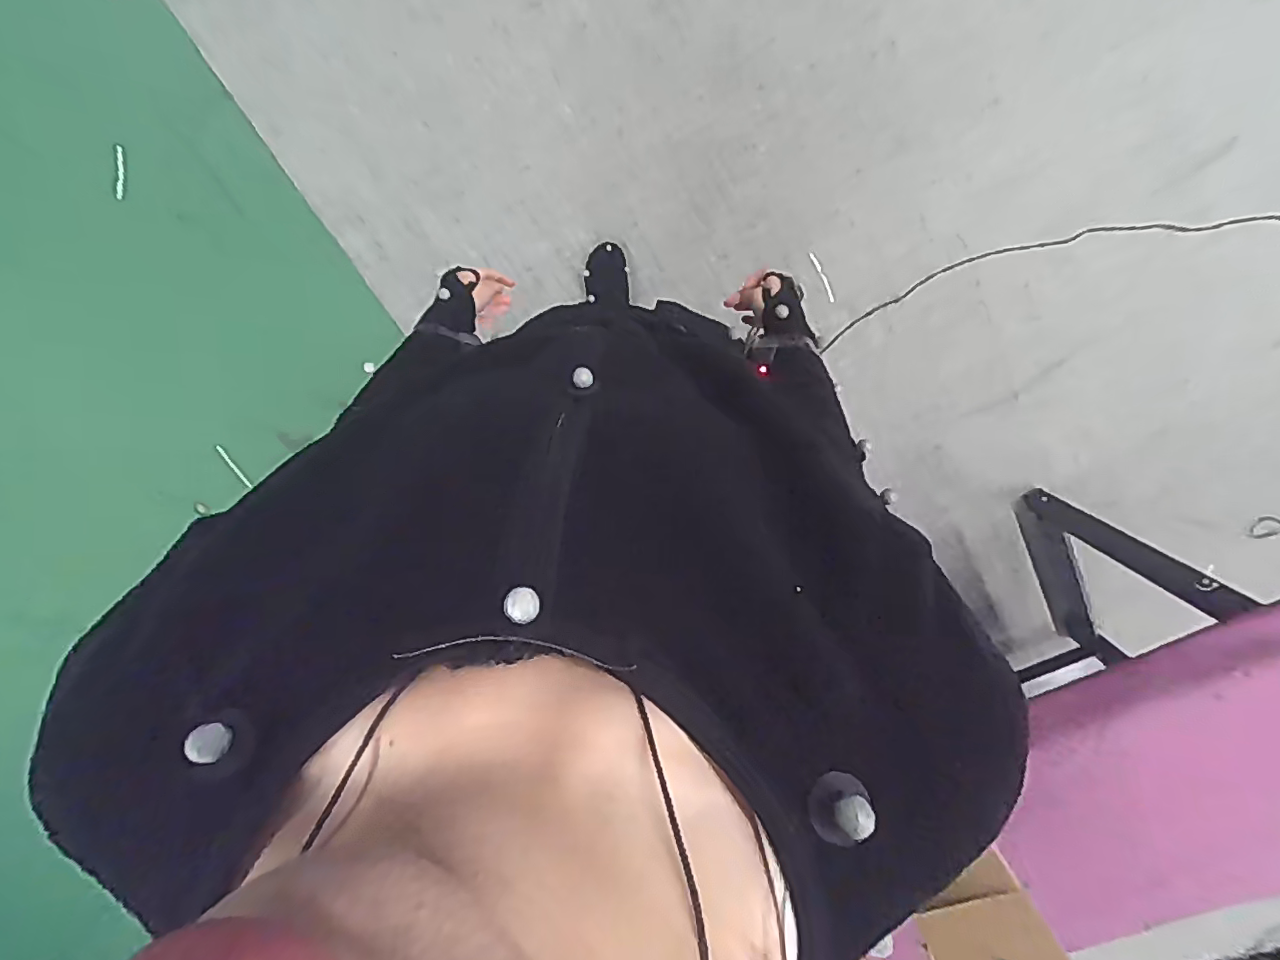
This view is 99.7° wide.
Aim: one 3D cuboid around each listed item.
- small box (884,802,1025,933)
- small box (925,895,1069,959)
[{"bbox_3d":[0.570,0.718,0.954,0.168,0.176,0.179,-34,107,11],"label":"small box"},{"bbox_3d":[0.547,0.764,0.796,0.179,0.176,0.168,-21,110,6],"label":"small box"}]
